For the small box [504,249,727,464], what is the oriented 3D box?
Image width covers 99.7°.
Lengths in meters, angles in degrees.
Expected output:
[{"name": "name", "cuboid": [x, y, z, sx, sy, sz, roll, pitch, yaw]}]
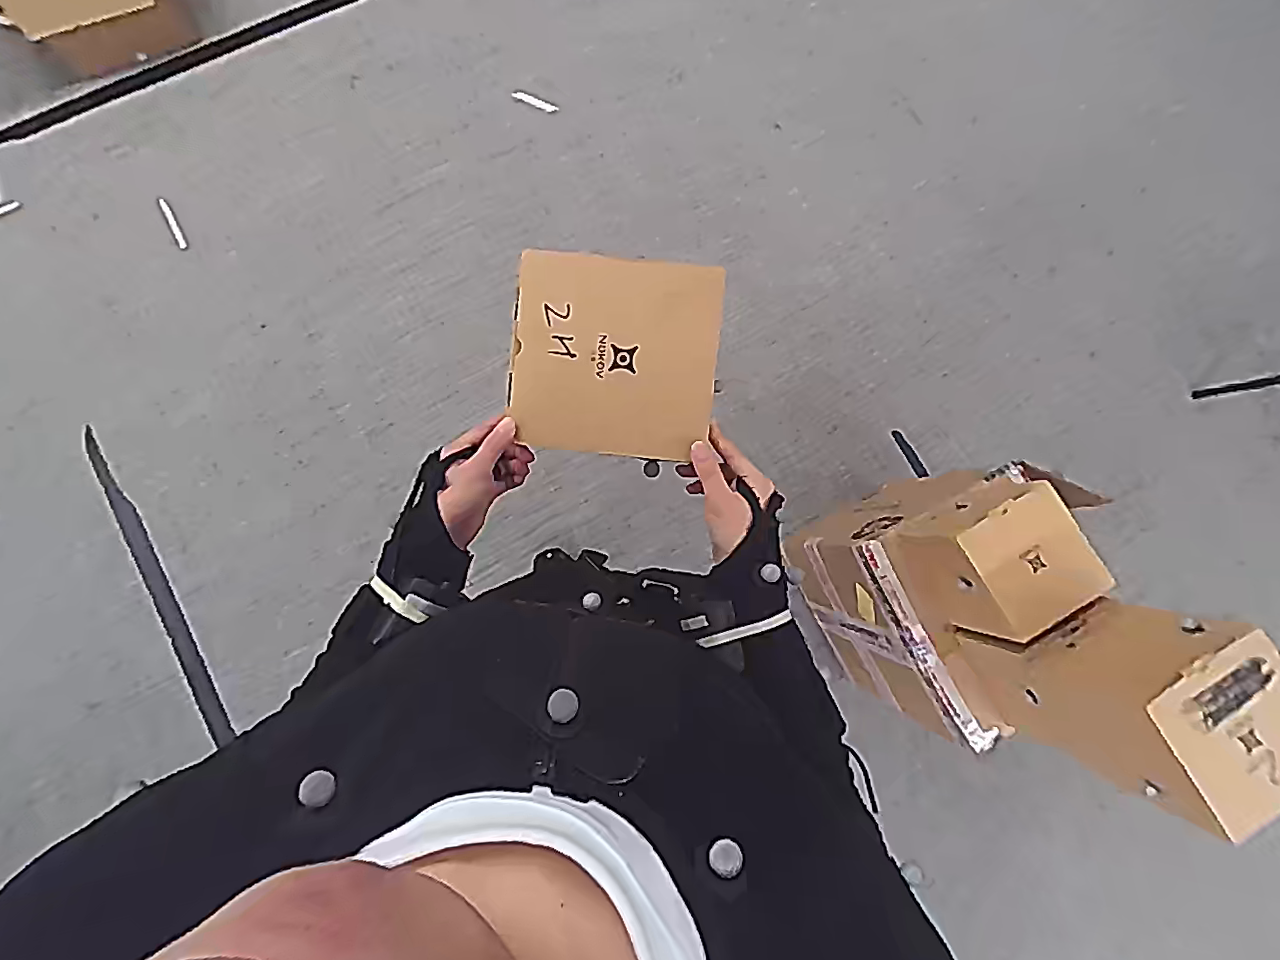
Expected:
[{"name": "small box", "cuboid": [-0.019, -0.108, 0.536, 0.179, 0.176, 0.168, 6, 93, 2]}]
